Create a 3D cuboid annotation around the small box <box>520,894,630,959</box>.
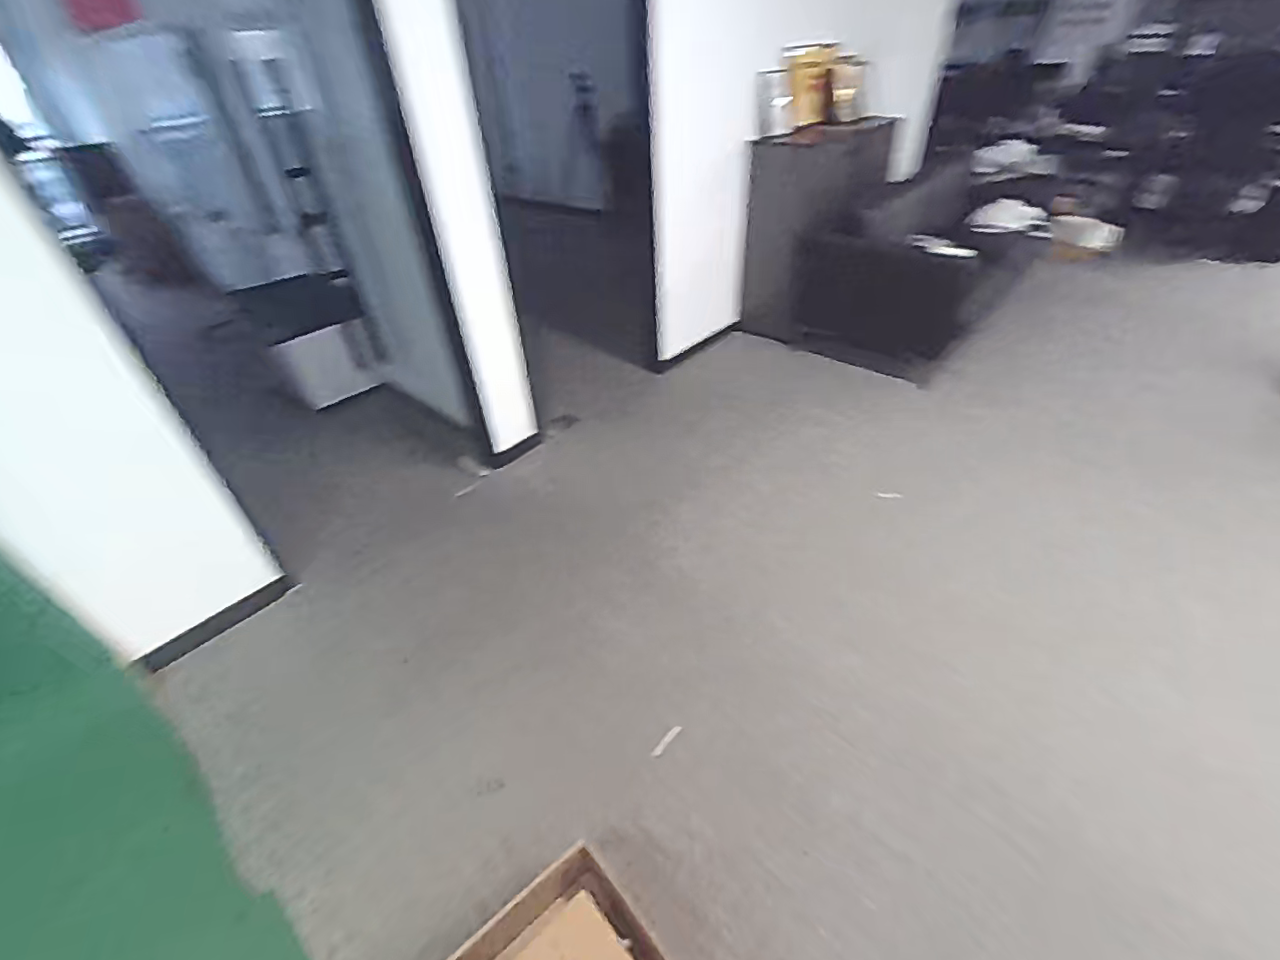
[{"bbox_3d":[-0.093,0.849,0.895,0.168,0.176,0.179,-32,45,-30],"label":"small box"}]
